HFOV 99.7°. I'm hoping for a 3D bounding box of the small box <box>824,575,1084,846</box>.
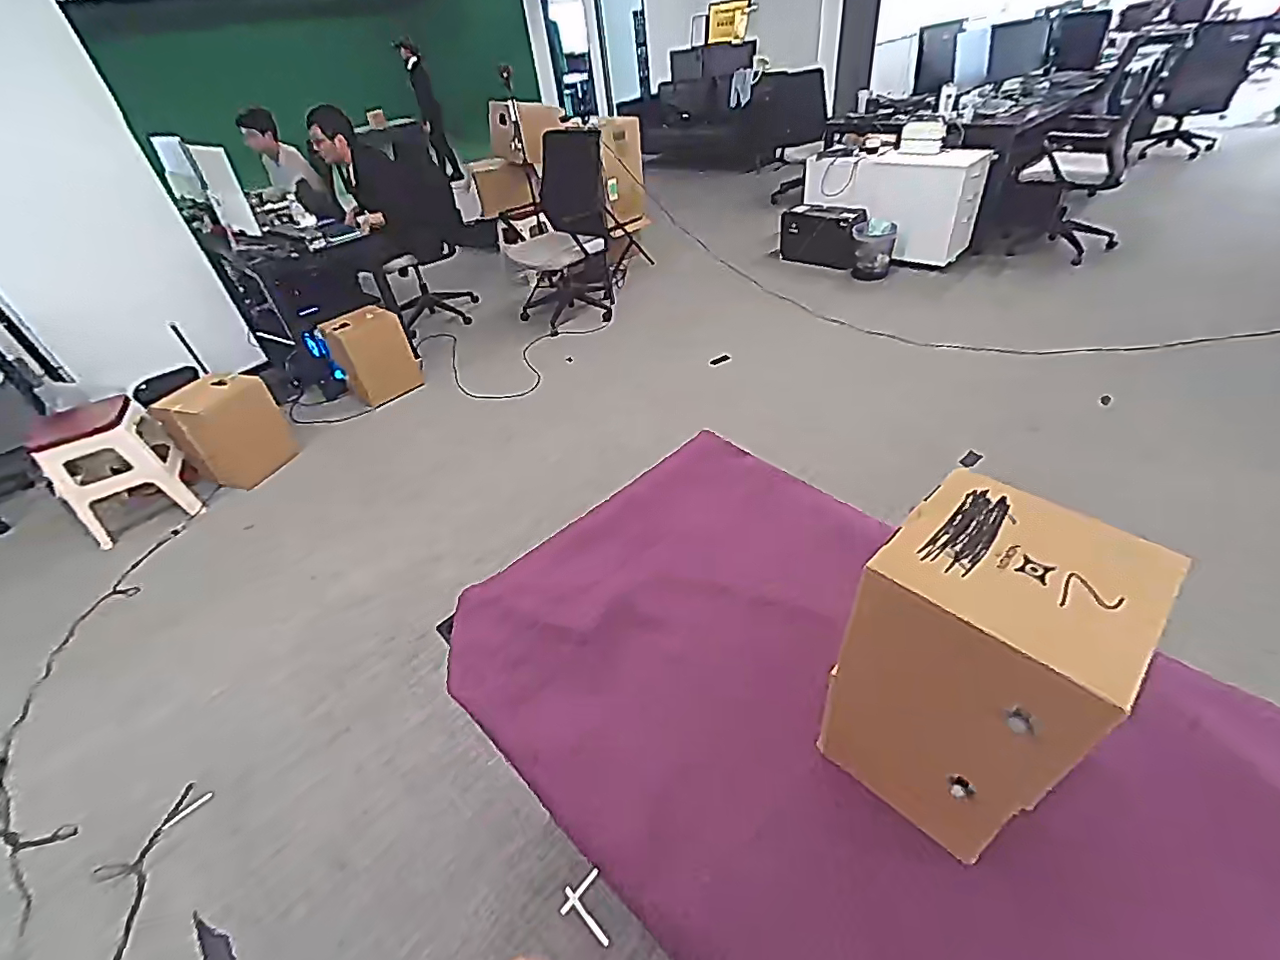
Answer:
[{"bbox_3d":[0.319,0.243,0.581,0.179,0.176,0.168,29,52,36],"label":"small box"}]
